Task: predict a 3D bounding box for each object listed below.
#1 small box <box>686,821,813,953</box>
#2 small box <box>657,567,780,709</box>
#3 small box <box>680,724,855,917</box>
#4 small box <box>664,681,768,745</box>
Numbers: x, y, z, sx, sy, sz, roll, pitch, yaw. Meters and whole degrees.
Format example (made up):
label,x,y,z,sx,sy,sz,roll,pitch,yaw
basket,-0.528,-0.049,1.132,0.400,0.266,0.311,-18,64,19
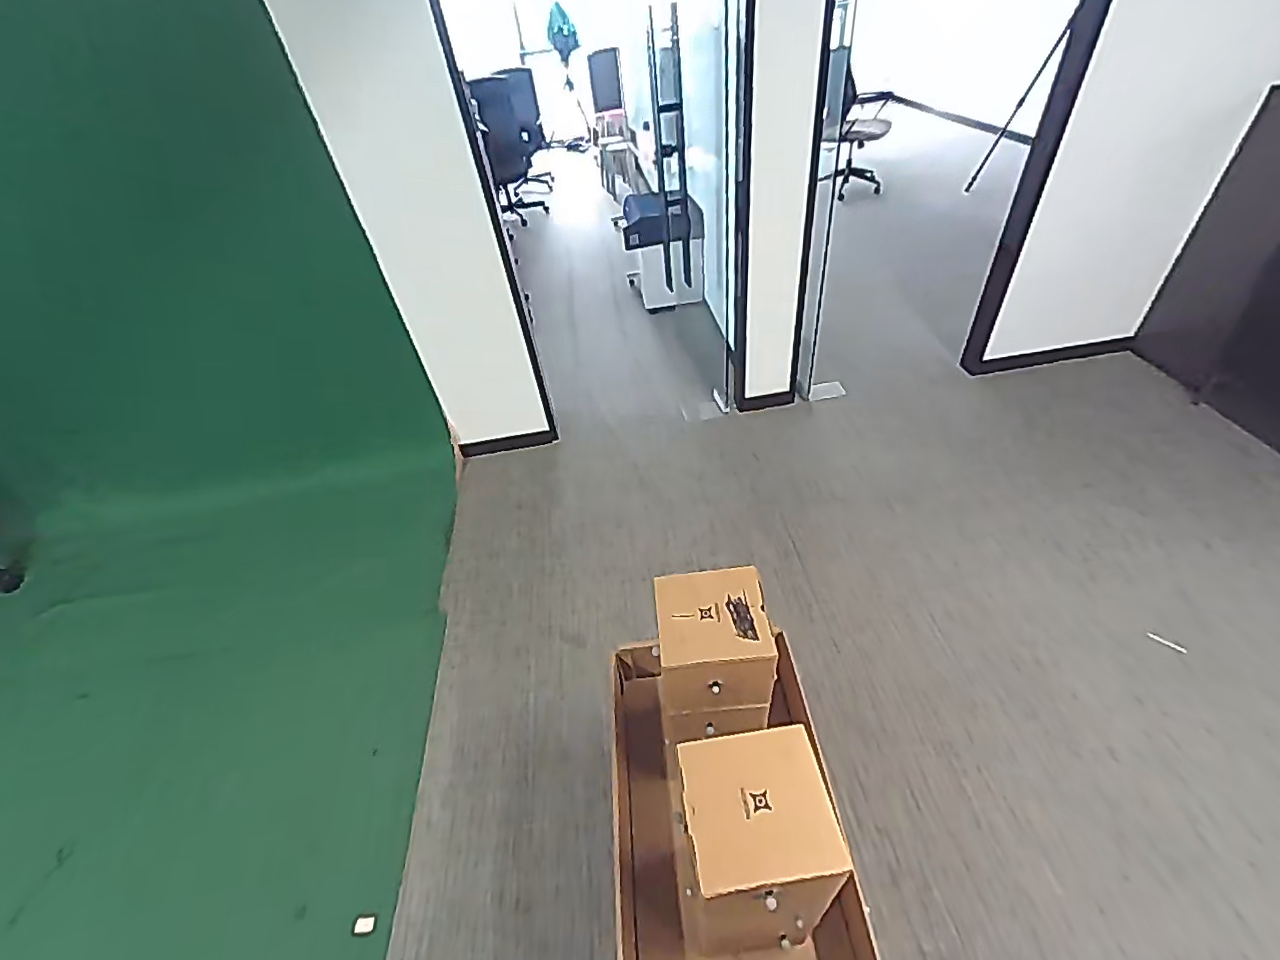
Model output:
label,x,y,z,sx,sy,sz,roll,pitch,yaw
small box,0.177,0.687,0.929,0.179,0.176,0.168,-7,42,0
small box,0.124,0.267,0.909,0.179,0.176,0.168,-6,44,2
small box,0.152,0.447,0.710,0.179,0.176,0.168,-9,43,-2
small box,0.137,0.386,1.023,0.179,0.176,0.168,-6,44,3
